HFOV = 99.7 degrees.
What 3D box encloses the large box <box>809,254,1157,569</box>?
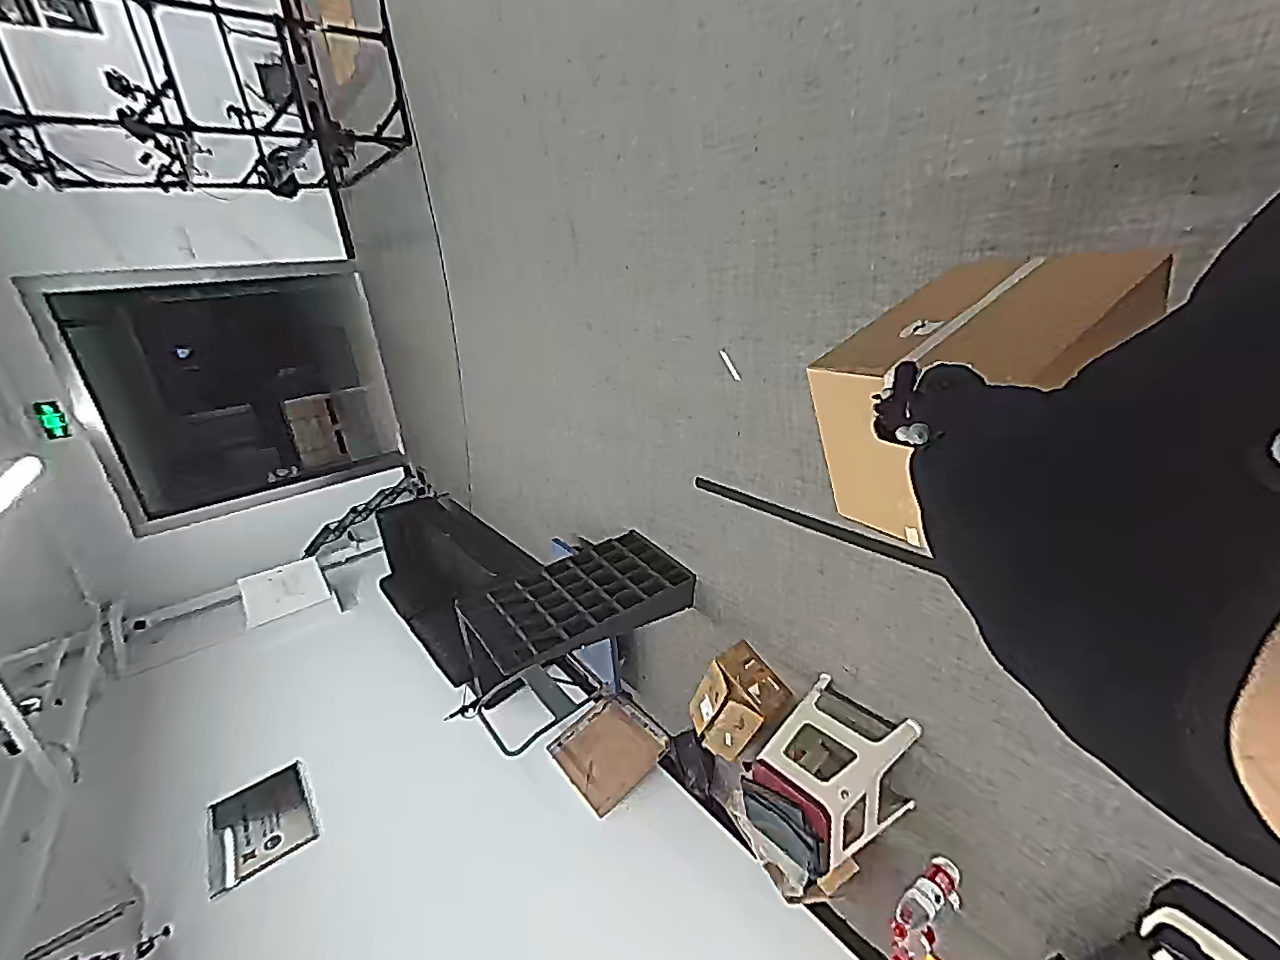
[{"bbox_3d":[0.555,-0.132,0.893,0.320,0.408,0.320,26,146,55],"label":"large box"}]
